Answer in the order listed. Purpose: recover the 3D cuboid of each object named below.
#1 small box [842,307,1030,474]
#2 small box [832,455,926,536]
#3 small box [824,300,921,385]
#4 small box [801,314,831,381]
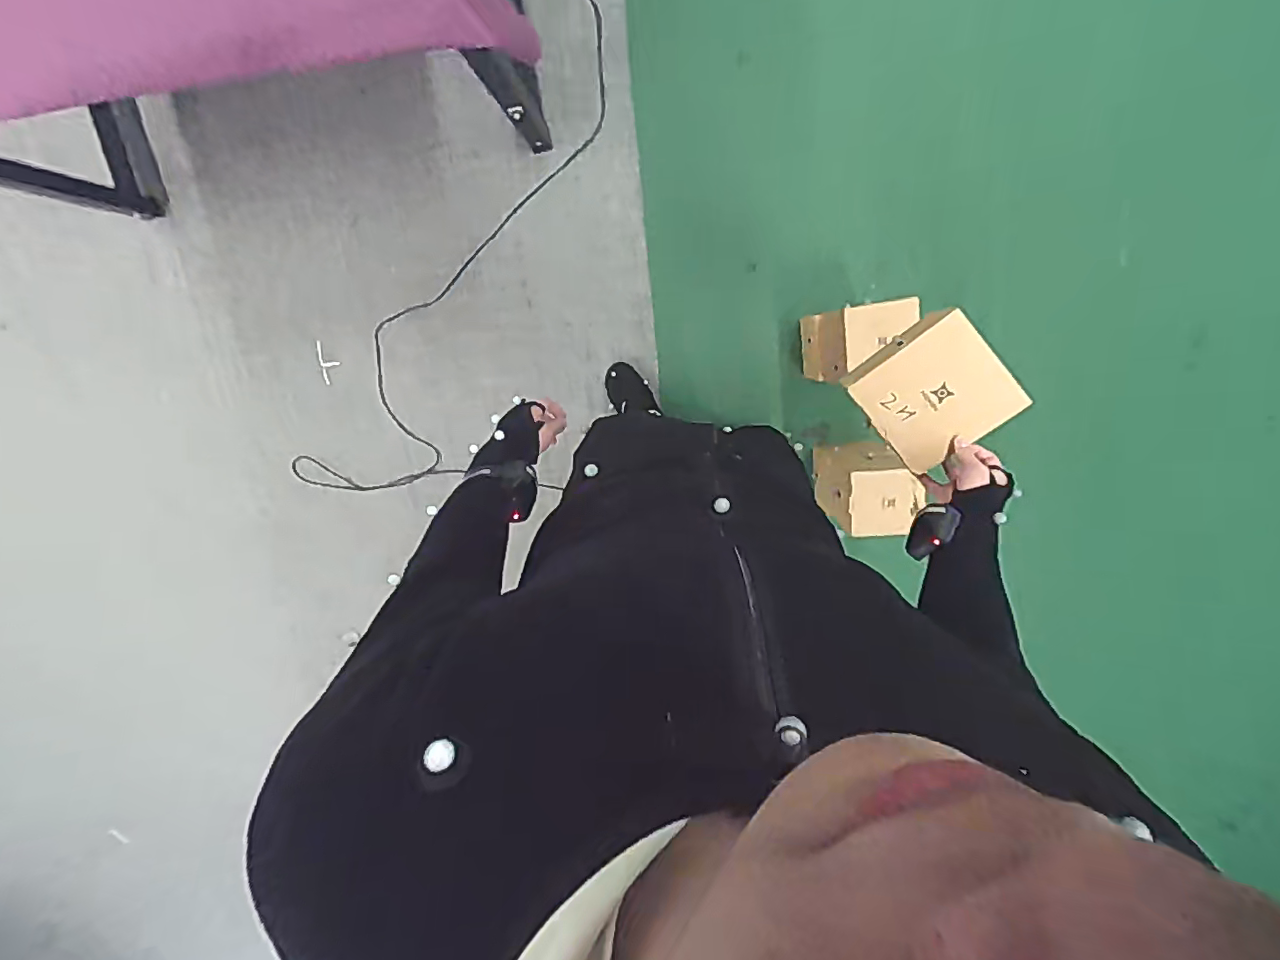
[{"bbox_3d":[0.428,-0.140,0.818,0.179,0.176,0.168,-38,91,22],"label":"small box"},{"bbox_3d":[0.593,0.036,1.365,0.179,0.176,0.168,-3,105,5],"label":"small box"},{"bbox_3d":[0.544,-0.320,1.280,0.168,0.176,0.179,-8,103,3],"label":"small box"},{"bbox_3d":[0.535,-0.359,1.438,0.179,0.176,0.168,-8,103,3],"label":"small box"}]
